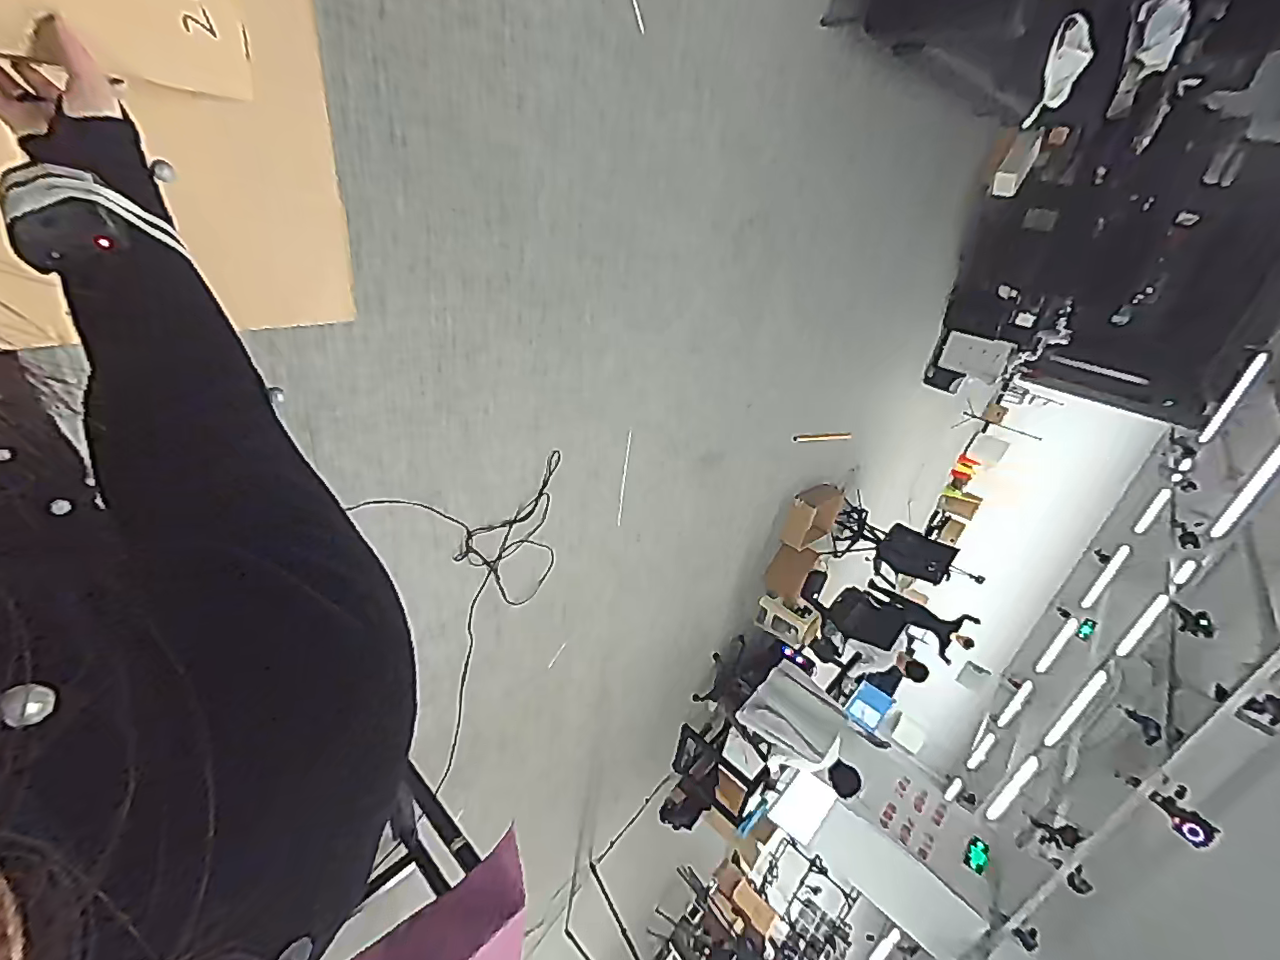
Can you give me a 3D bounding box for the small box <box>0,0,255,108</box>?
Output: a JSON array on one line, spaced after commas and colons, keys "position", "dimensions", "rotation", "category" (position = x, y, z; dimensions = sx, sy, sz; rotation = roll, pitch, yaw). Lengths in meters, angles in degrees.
[{"position": [-0.471, -0.437, 0.467], "dimensions": [0.179, 0.176, 0.168], "rotation": [-19, 129, -43], "category": "small box"}]
